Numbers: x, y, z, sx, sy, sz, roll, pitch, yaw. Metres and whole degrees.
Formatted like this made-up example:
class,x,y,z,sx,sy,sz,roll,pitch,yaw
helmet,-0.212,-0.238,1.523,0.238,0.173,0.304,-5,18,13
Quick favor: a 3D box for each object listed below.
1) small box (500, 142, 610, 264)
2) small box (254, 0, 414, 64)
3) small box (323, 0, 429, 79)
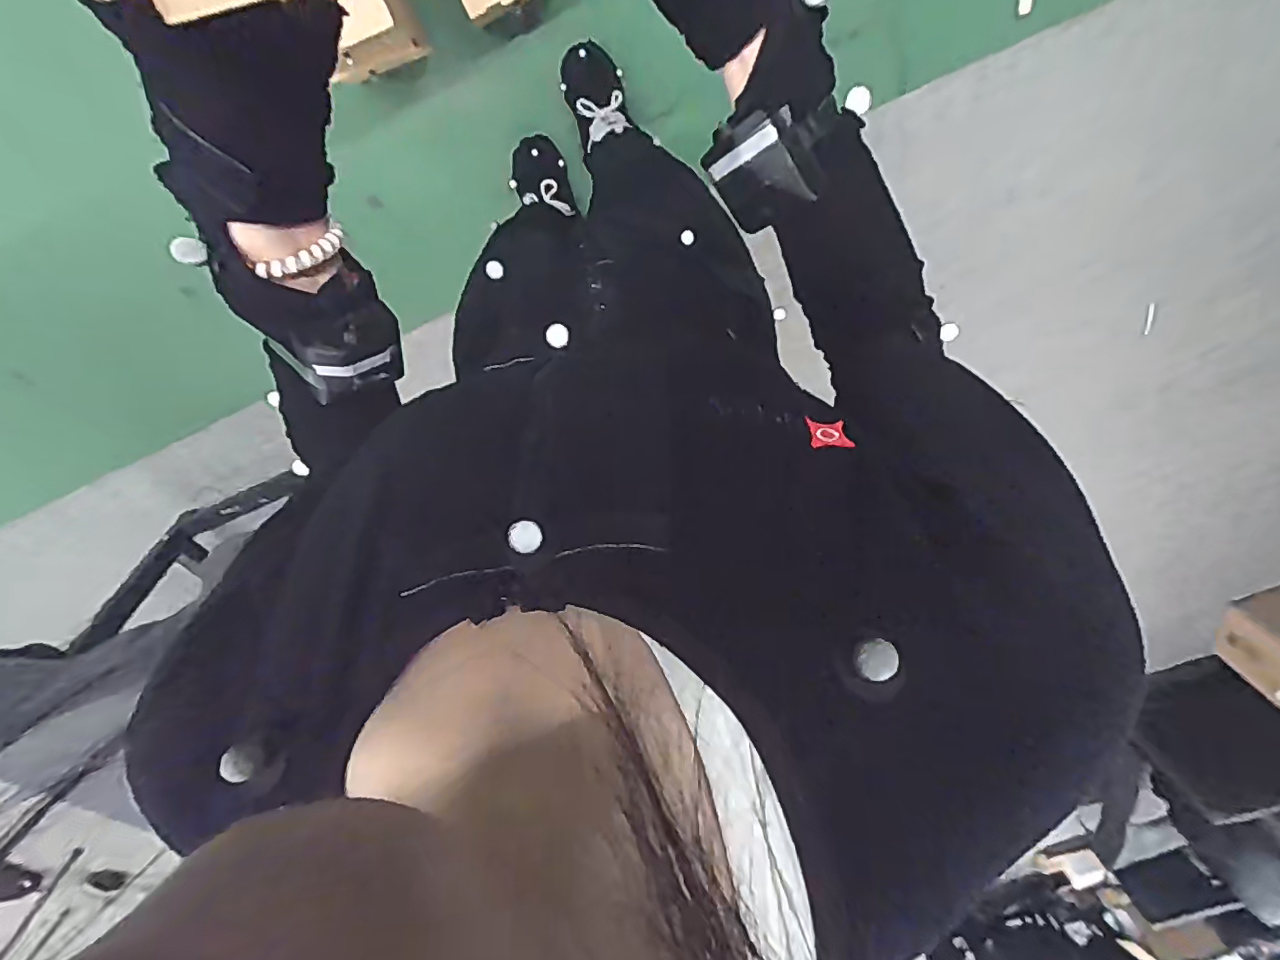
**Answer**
class,x,y,z,sx,sy,sz,roll,pitch,yaw
small box,-0.191,-0.609,1.190,0.179,0.176,0.168,27,130,-7
small box,-0.471,-0.751,0.810,0.179,0.176,0.168,-19,126,5
small box,-0.497,-0.837,0.949,0.168,0.176,0.179,-18,126,4
